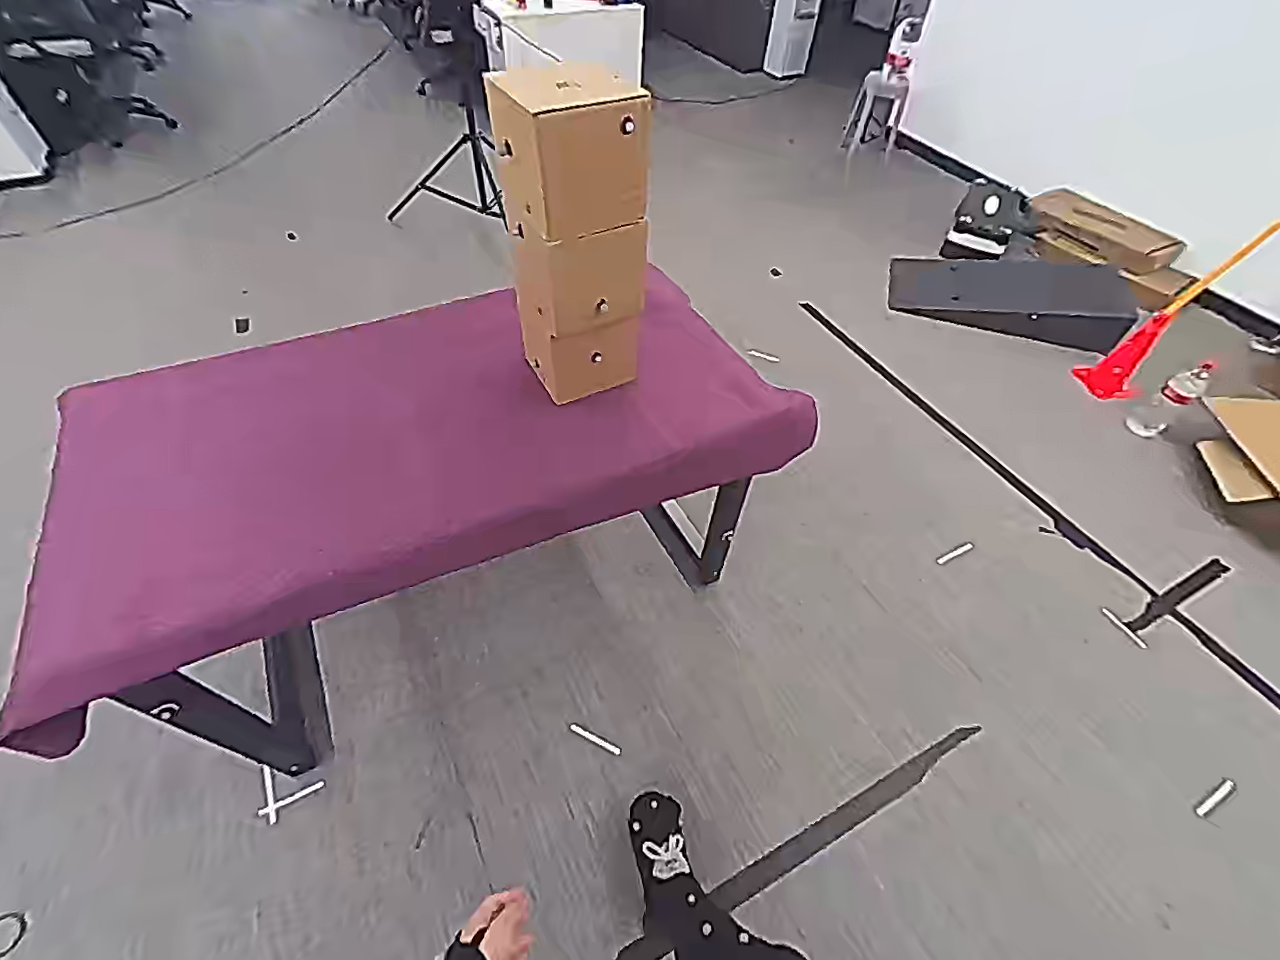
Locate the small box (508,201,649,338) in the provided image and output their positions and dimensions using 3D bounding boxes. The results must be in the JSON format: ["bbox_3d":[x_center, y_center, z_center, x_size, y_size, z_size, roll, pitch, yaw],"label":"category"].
[{"bbox_3d":[-0.104,-0.372,0.920,0.179,0.176,0.168,-25,56,-22],"label":"small box"}]

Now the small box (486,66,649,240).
[{"bbox_3d":[-0.102,-0.479,0.797,0.179,0.176,0.168,-25,56,-21],"label":"small box"}]
